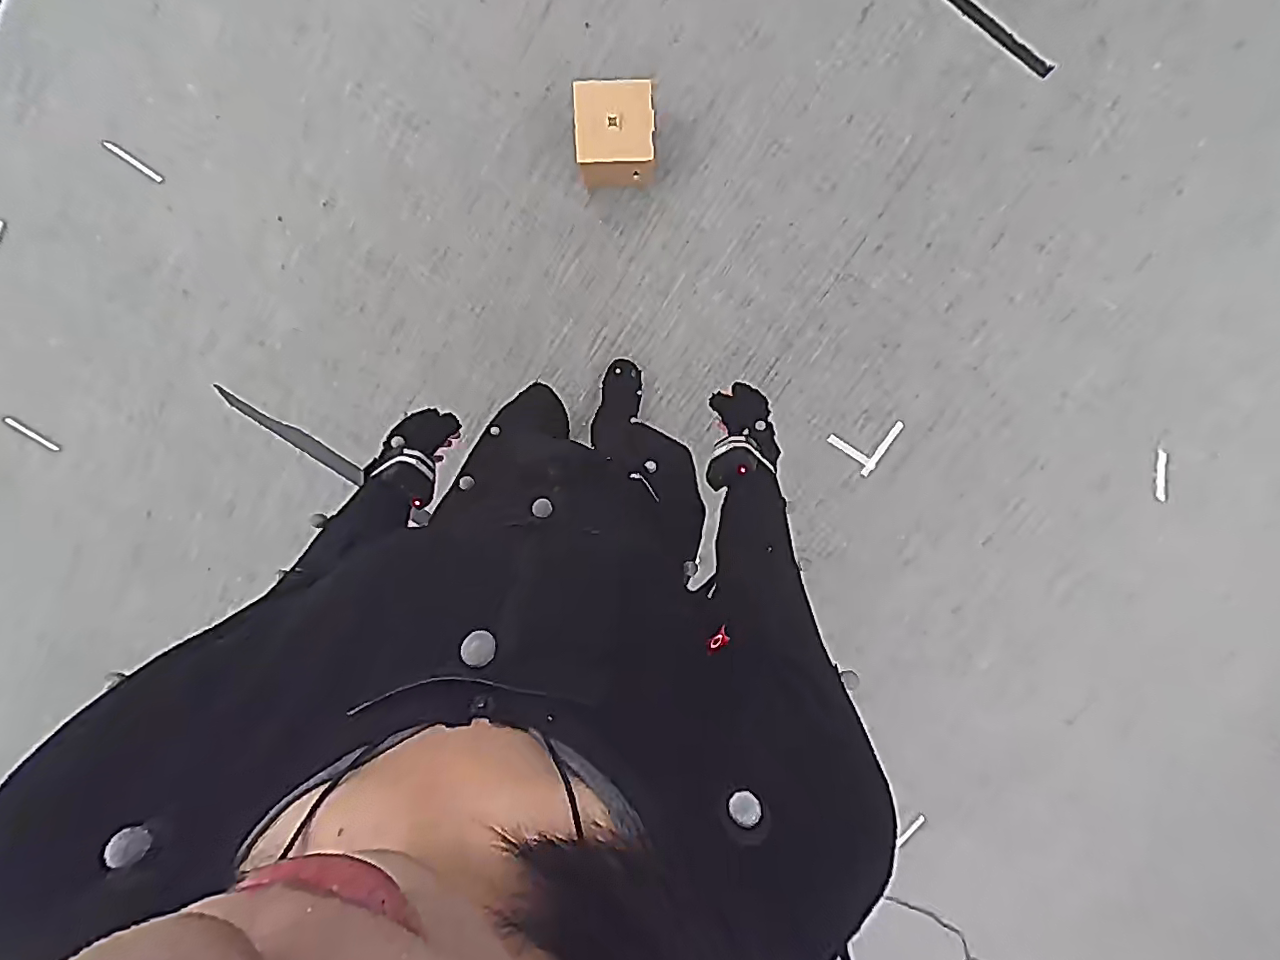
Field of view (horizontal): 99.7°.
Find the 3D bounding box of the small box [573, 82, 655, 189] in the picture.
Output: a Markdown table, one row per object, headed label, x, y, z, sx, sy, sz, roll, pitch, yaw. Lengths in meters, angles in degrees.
| label | x | y | z | sx | sy | sz | roll | pitch | yaw |
| --- | --- | --- | --- | --- | --- | --- | --- | --- | --- |
| small box | -0.057 | -0.798 | 1.265 | 0.179 | 0.176 | 0.168 | -2 | 101 | 1 |
